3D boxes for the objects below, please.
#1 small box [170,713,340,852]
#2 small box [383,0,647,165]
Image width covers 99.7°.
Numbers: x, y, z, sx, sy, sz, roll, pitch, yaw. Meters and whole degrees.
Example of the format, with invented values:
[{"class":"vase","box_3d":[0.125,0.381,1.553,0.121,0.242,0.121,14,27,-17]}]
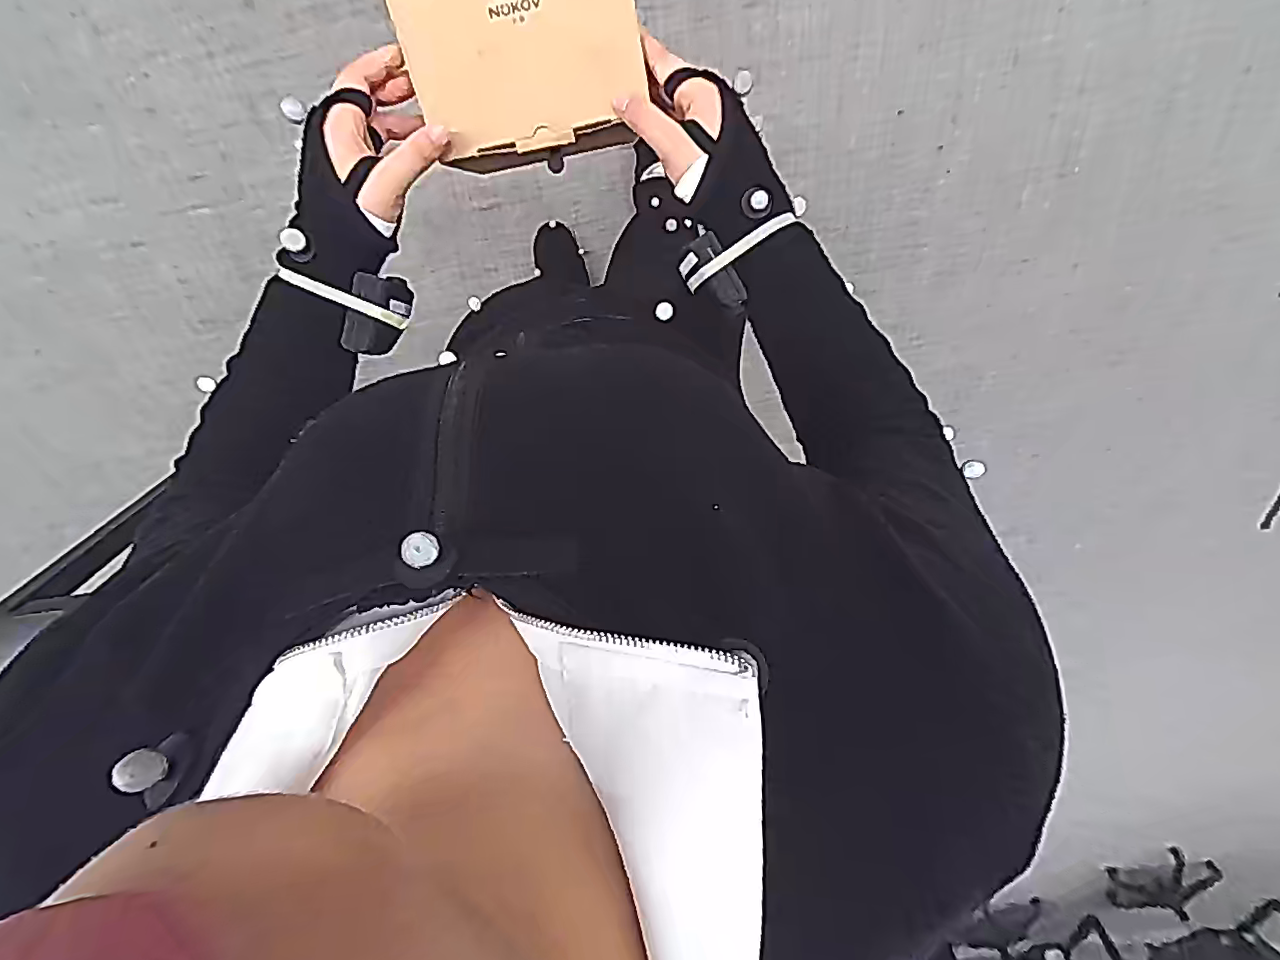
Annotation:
[{"class":"small box","box_3d":[-0.713,0.573,1.029,0.168,0.176,0.179,-8,122,3]},{"class":"small box","box_3d":[-0.092,-0.363,0.427,0.168,0.176,0.179,-12,118,2]}]
